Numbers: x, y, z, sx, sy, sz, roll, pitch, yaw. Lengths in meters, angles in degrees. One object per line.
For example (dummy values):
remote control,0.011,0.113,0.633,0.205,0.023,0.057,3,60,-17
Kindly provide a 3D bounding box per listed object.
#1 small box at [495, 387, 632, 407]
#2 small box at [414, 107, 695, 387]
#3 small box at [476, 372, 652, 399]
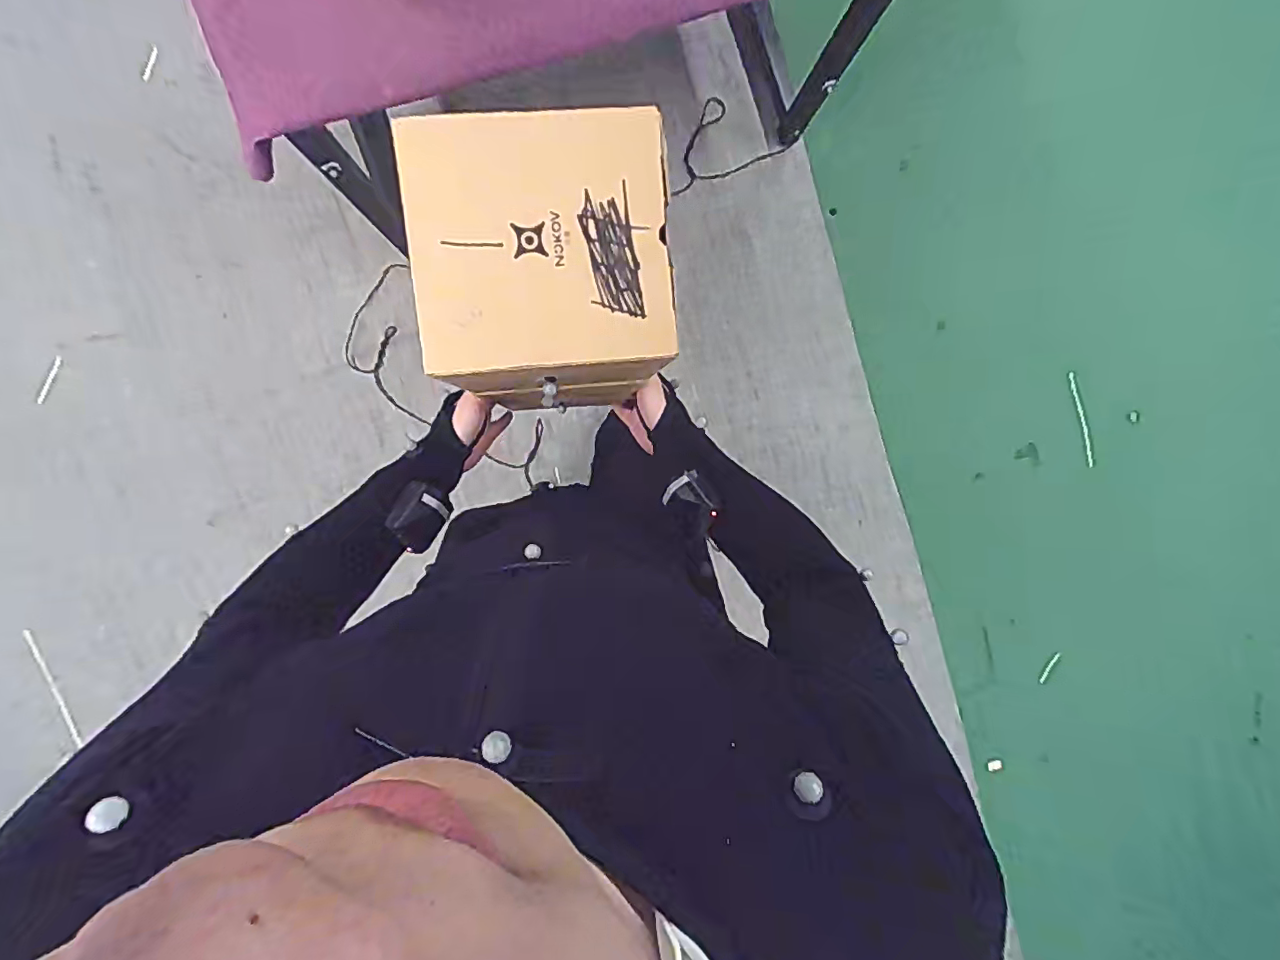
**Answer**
small box,-0.109,-0.192,0.764,0.179,0.176,0.168,-3,95,-8
small box,-0.063,-0.169,0.440,0.179,0.176,0.168,-6,96,-7
small box,-0.086,-0.181,0.602,0.179,0.176,0.168,-5,96,-6
